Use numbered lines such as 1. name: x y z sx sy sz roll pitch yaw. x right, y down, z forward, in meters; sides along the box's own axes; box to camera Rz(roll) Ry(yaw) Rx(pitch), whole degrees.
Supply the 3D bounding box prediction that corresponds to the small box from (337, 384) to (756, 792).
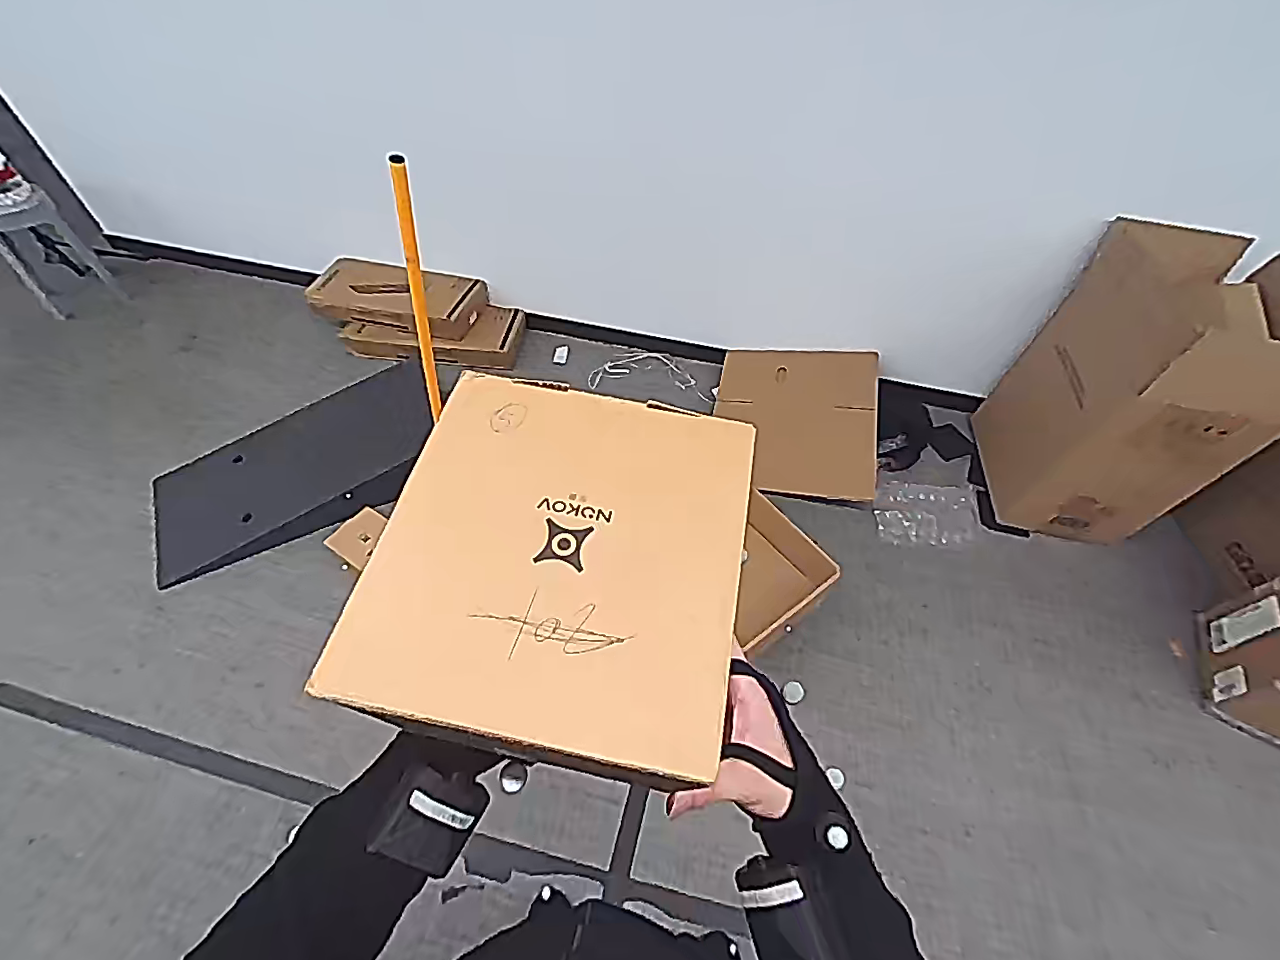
1. small box: -0.037 0.074 0.331 0.168 0.176 0.179 12 59 3
